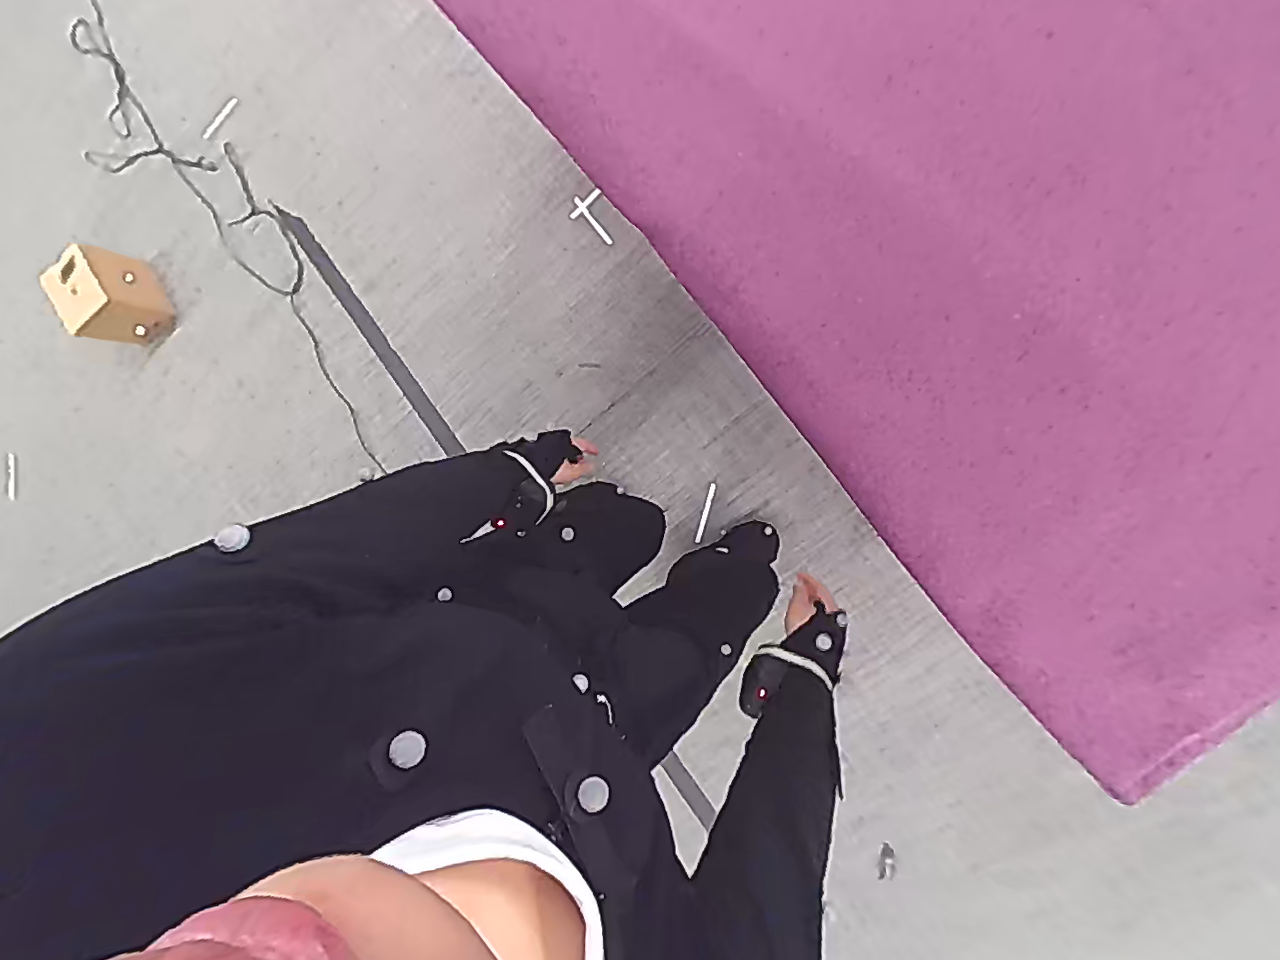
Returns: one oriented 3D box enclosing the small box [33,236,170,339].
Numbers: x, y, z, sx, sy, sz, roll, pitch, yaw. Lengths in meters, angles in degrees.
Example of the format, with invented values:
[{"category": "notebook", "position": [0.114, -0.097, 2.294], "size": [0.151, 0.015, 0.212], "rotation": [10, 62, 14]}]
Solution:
[{"category": "small box", "position": [-1.410, -0.496, 1.426], "size": [0.168, 0.176, 0.179], "rotation": [-30, 88, 14]}]
